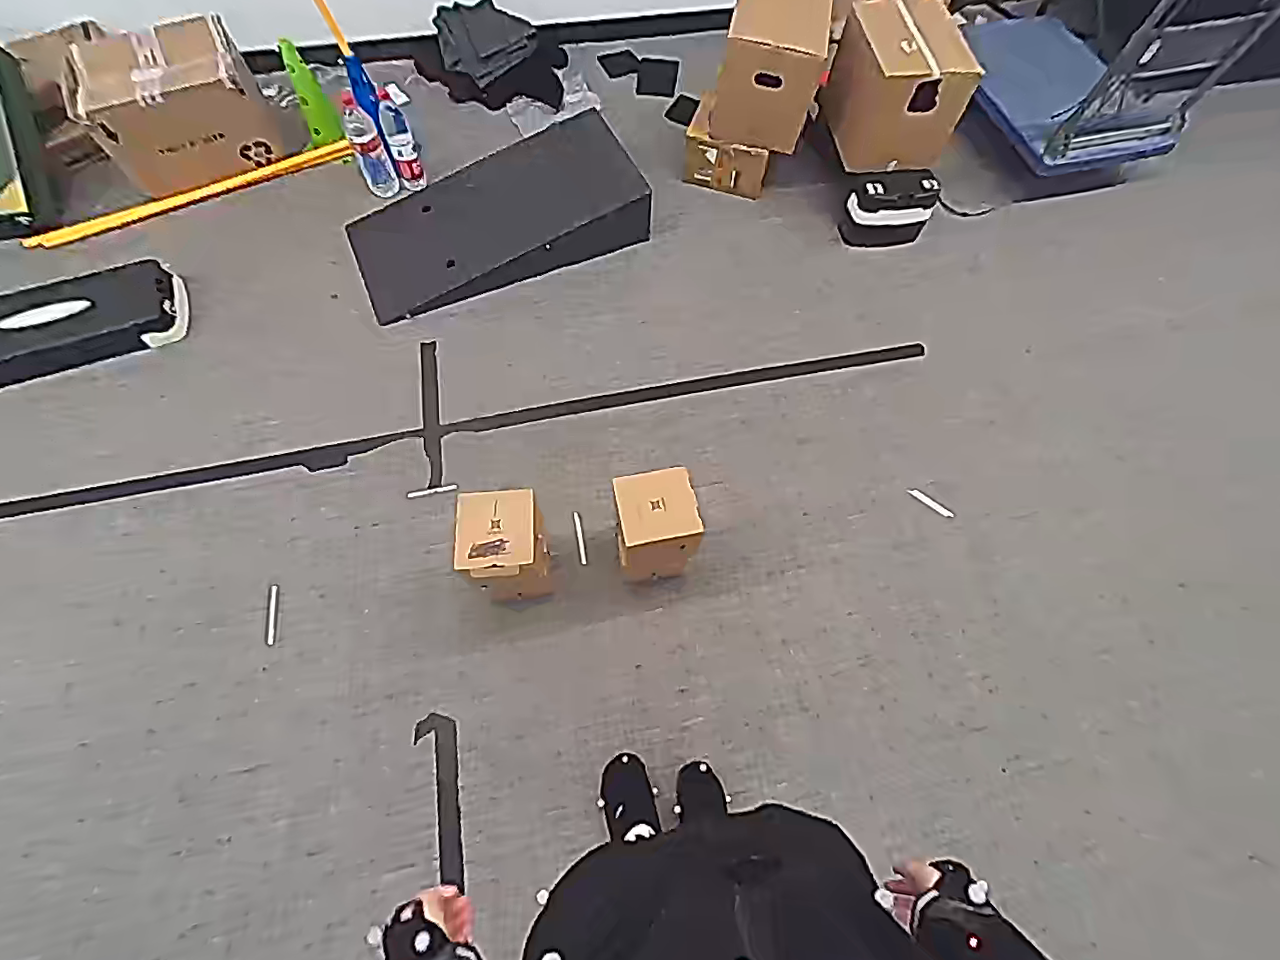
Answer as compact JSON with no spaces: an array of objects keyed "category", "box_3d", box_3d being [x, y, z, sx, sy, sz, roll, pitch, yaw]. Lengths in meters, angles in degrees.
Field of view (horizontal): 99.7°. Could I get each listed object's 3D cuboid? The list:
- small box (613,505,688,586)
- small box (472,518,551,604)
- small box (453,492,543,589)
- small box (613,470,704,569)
[{"category":"small box","box_3d":[0.021,0.160,1.402,0.168,0.176,0.179,-8,66,-5]},{"category":"small box","box_3d":[-0.322,0.208,1.367,0.179,0.176,0.168,-8,66,-7]},{"category":"small box","box_3d":[-0.311,0.143,1.216,0.168,0.176,0.179,-4,65,-4]},{"category":"small box","box_3d":[0.035,0.095,1.252,0.179,0.176,0.168,-10,65,-6]}]
